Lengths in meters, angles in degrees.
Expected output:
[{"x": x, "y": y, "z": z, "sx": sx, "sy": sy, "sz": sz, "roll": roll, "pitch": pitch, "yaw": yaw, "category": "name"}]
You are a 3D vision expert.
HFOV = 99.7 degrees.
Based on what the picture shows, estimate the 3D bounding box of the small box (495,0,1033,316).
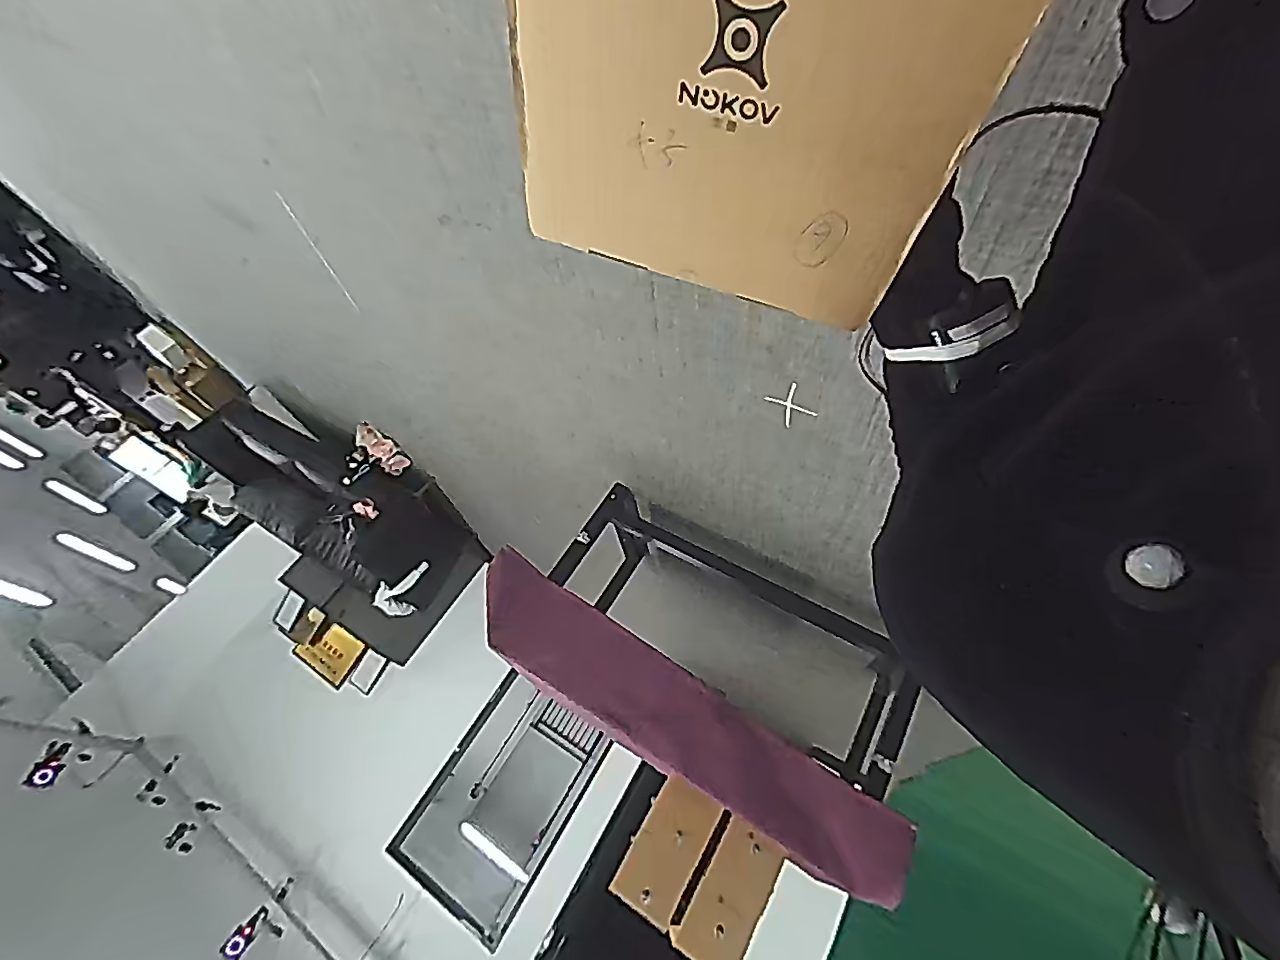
[{"x": 0.053, "y": -0.207, "z": 0.218, "sx": 0.168, "sy": 0.176, "sz": 0.179, "roll": 18, "pitch": 148, "yaw": 4, "category": "small box"}]
